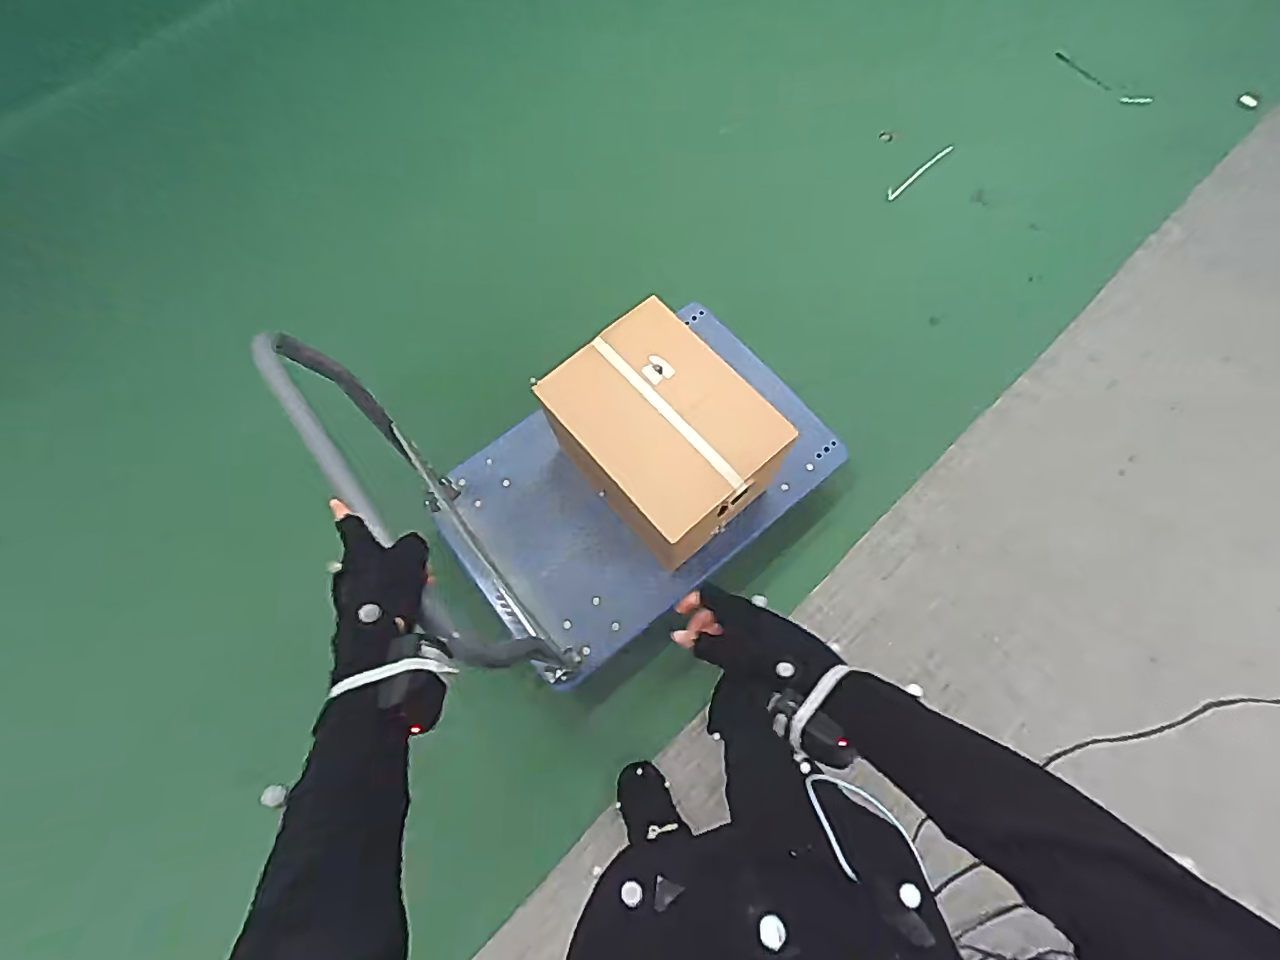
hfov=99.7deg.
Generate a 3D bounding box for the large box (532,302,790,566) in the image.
[{"bbox_3d":[0.043,-0.081,1.154,0.320,0.320,0.408,-40,74,-11],"label":"large box"}]
